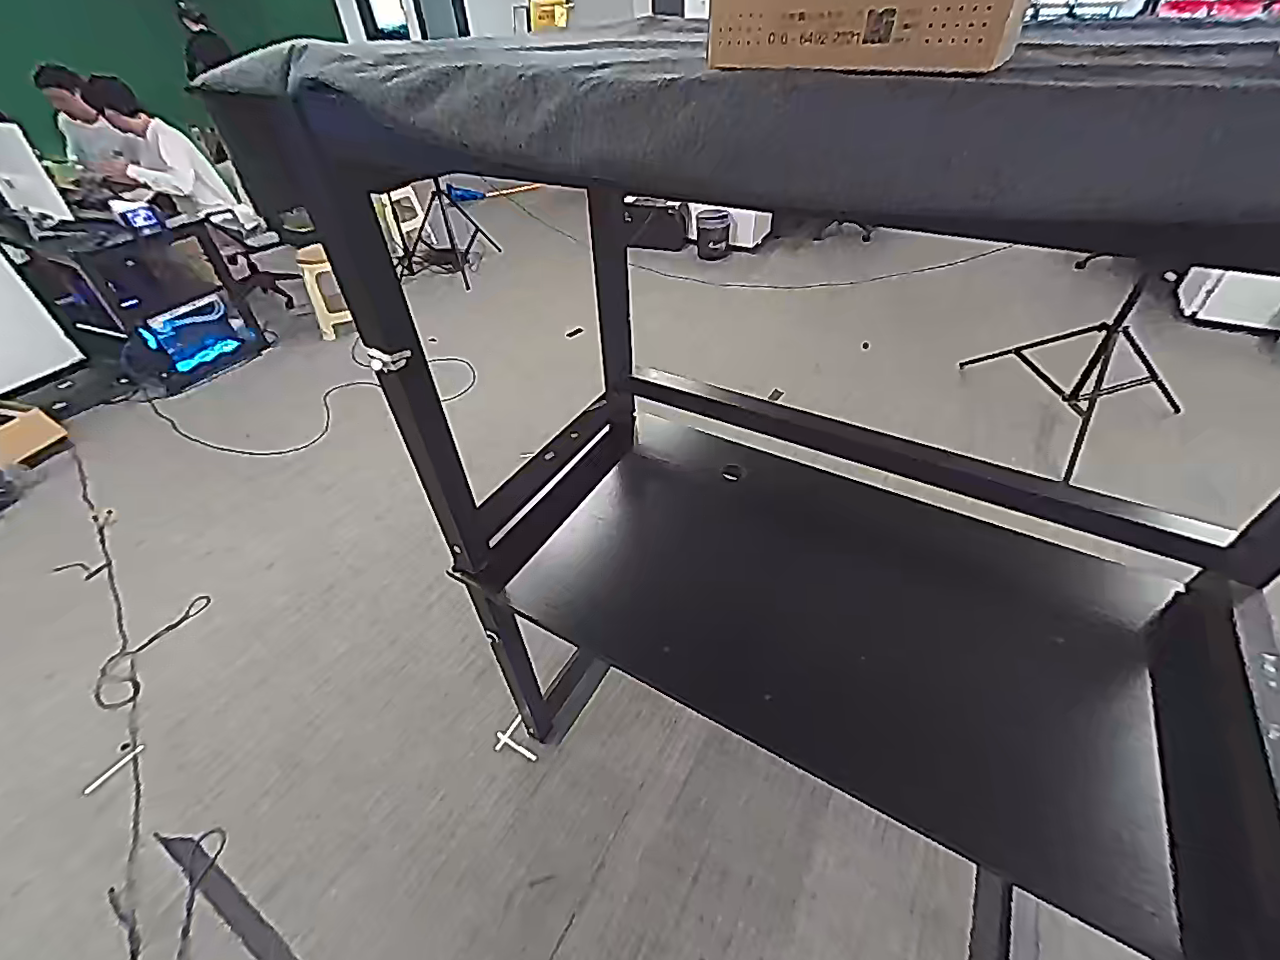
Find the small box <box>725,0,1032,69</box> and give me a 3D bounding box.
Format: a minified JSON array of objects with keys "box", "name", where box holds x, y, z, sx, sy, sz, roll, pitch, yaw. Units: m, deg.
[{"box":[0.158,-0.354,0.318,0.168,0.176,0.179,20,44,24],"name":"small box"}]
